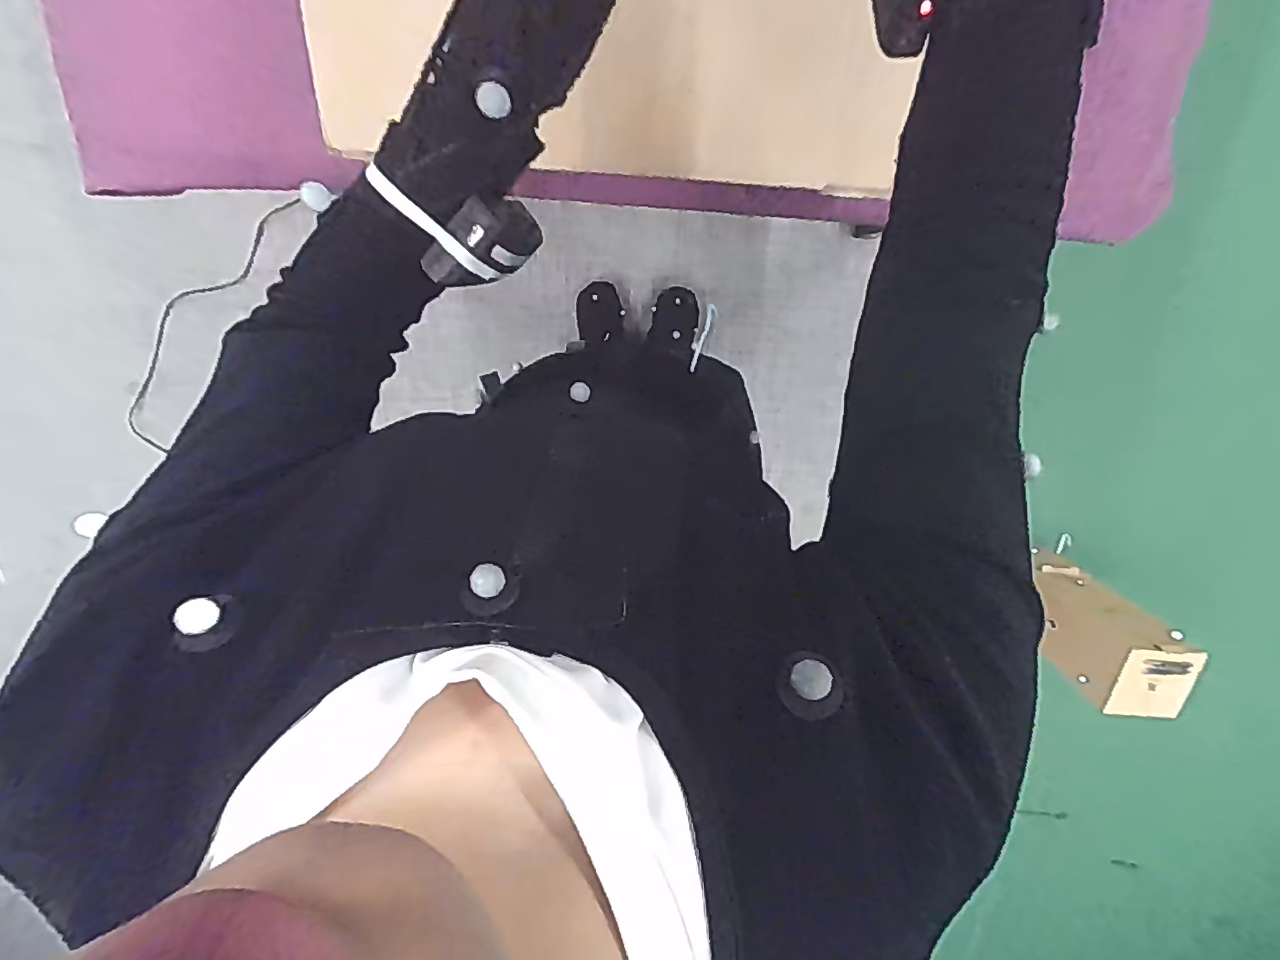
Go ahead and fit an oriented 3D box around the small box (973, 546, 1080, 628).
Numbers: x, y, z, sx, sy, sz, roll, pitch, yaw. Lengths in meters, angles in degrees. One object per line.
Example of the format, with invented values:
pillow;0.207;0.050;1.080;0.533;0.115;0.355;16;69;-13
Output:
small box;1.101;0.311;1.559;0.168;0.176;0.179;3;110;-2

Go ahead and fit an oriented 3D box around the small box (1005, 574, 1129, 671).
small box;1.095;0.366;1.406;0.168;0.176;0.179;4;109;-2
